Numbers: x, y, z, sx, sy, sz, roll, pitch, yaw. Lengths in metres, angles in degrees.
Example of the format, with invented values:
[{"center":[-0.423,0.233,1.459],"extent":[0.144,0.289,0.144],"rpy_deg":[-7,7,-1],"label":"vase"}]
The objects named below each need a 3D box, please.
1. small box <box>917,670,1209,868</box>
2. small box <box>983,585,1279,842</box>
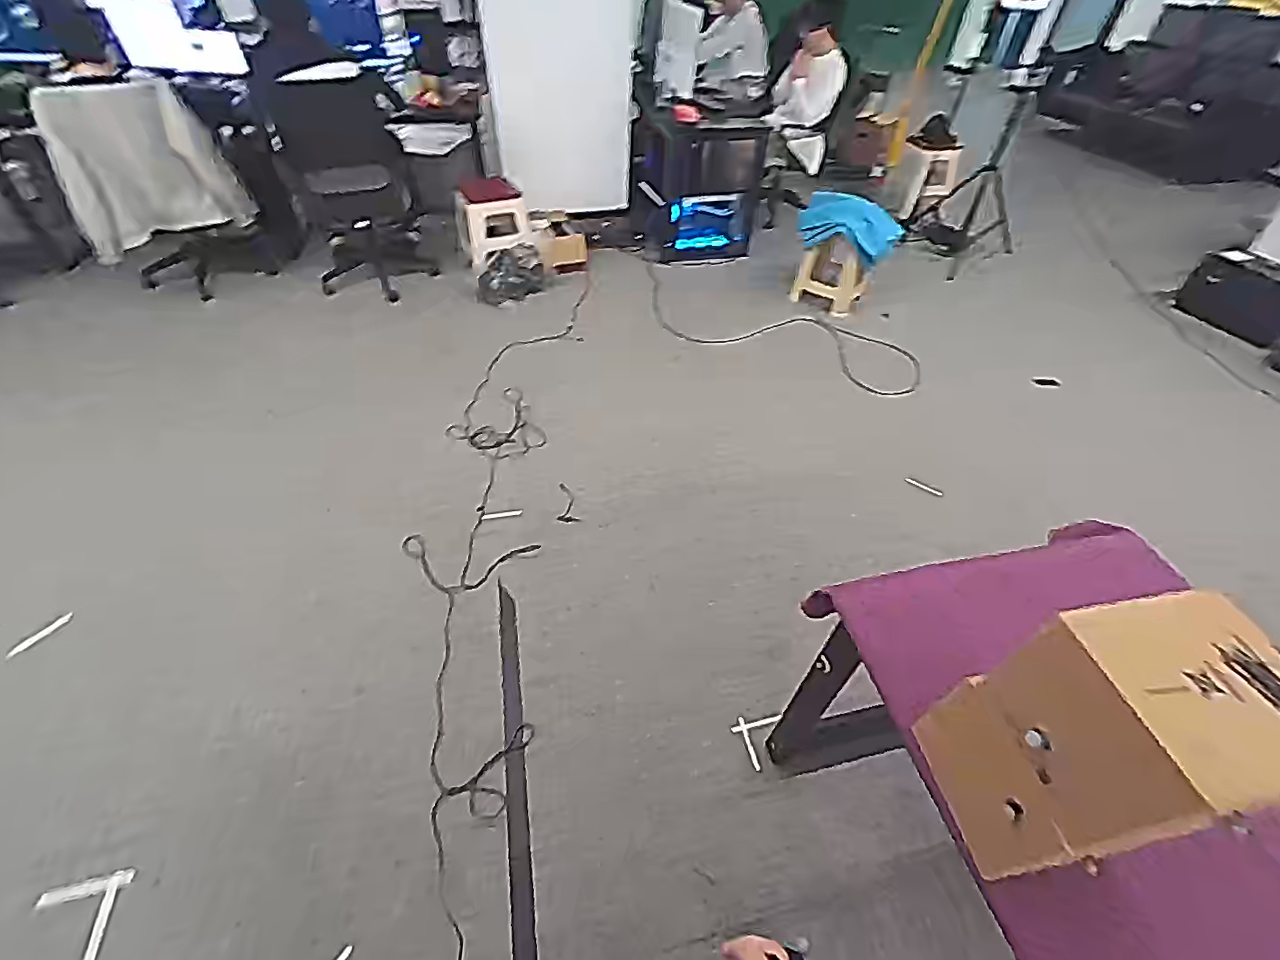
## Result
[{"center":[0.470,0.336,0.638],"extent":[0.168,0.176,0.179],"rpy_deg":[-5,46,-8],"label":"small box"},{"center":[0.485,0.224,0.519],"extent":[0.179,0.176,0.168],"rpy_deg":[-7,47,-8],"label":"small box"}]
